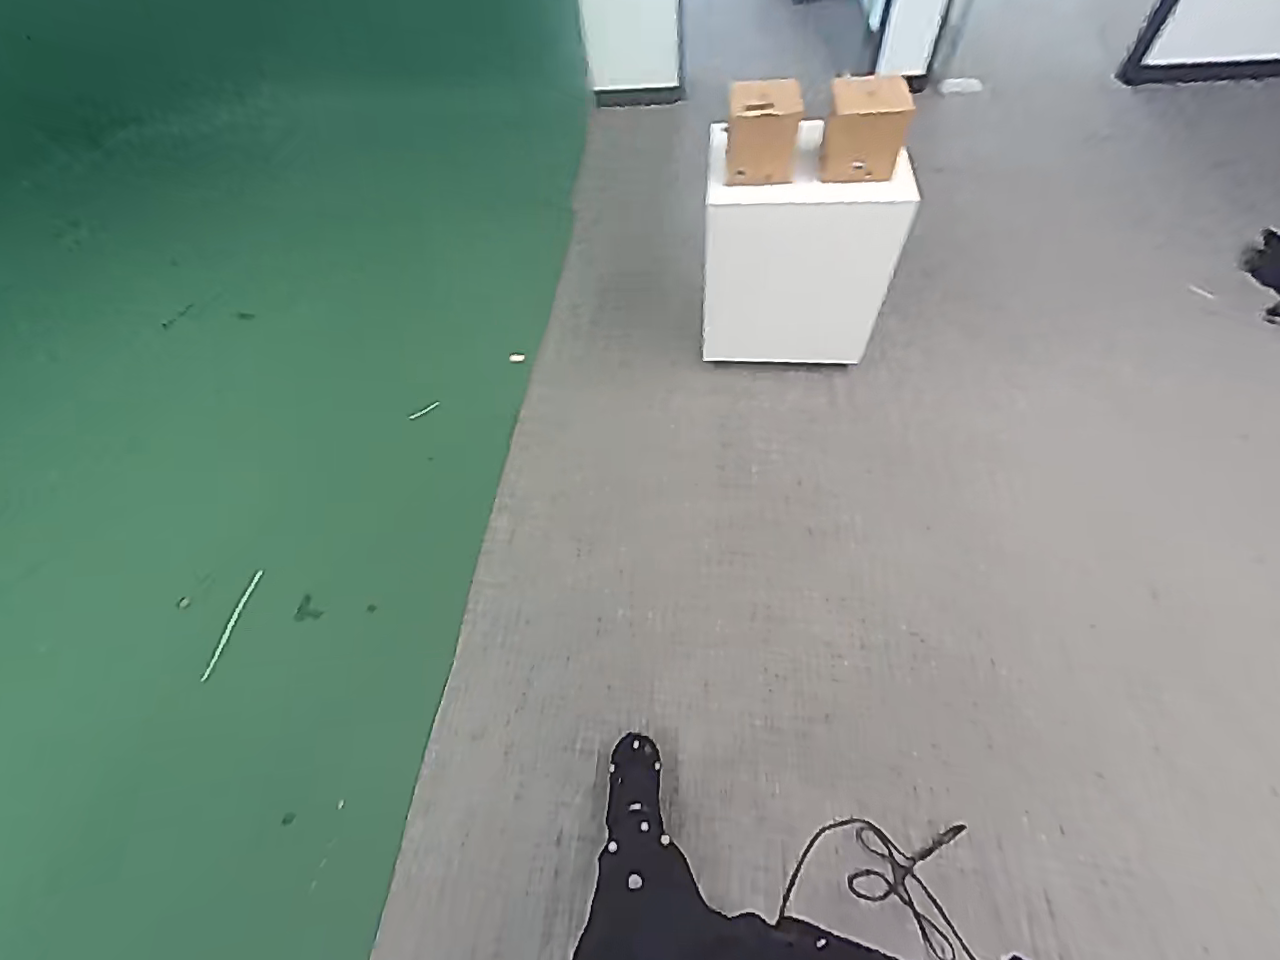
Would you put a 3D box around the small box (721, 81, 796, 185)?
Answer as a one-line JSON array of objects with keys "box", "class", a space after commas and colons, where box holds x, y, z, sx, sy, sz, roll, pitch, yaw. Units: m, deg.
[{"box": [0.294, -0.866, 1.363, 0.168, 0.176, 0.179, 0, 57, 5], "class": "small box"}]

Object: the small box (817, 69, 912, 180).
[{"box": [0.537, -0.865, 1.321, 0.168, 0.176, 0.179, 0, 60, 7], "class": "small box"}]
